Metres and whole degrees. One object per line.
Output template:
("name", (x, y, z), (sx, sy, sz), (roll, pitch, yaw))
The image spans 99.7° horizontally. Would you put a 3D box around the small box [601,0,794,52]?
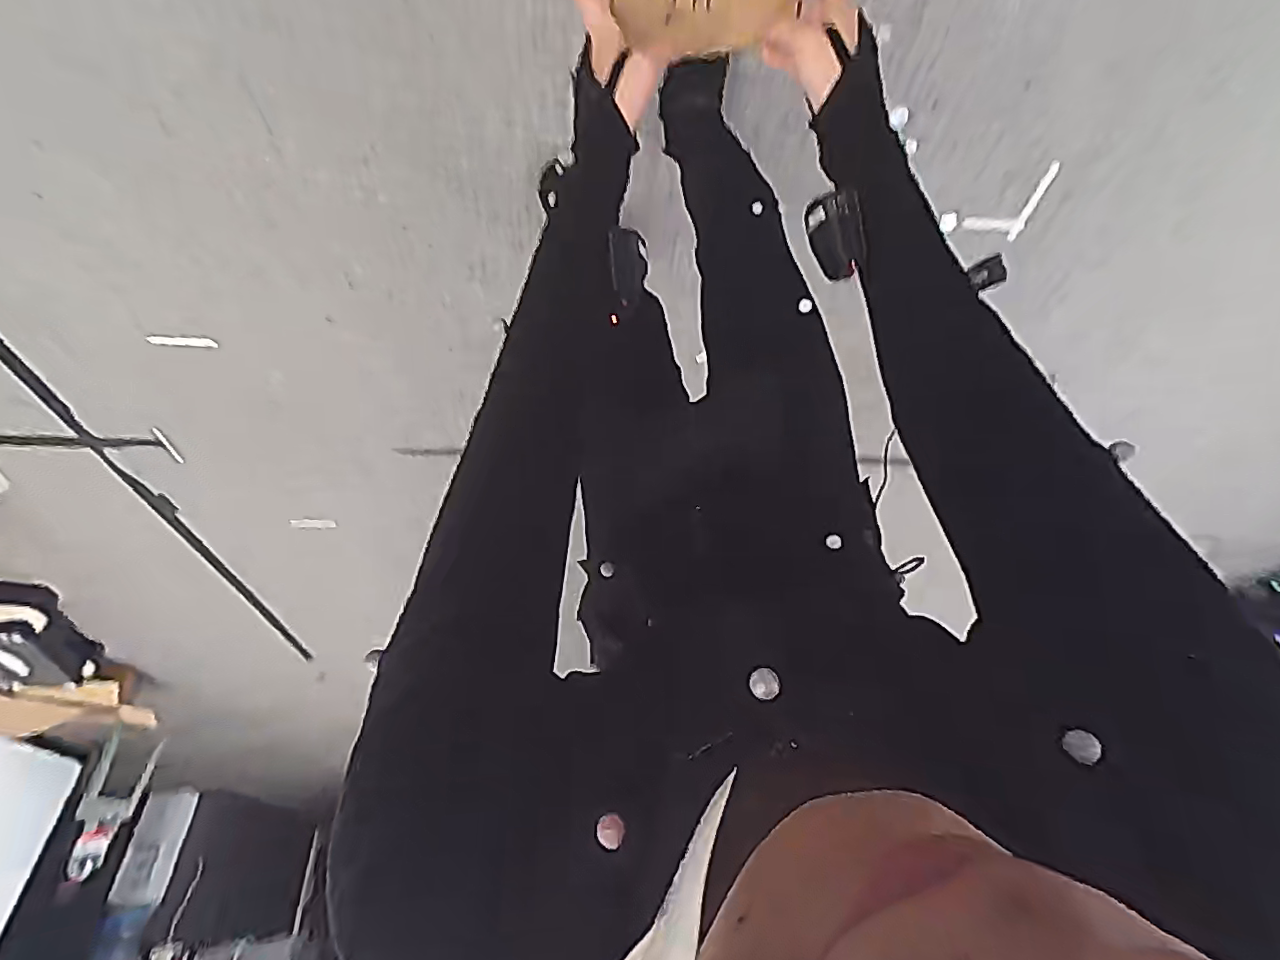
("small box", (0.042, -0.503, 0.460), (0.168, 0.176, 0.179), (-7, 146, -4))
